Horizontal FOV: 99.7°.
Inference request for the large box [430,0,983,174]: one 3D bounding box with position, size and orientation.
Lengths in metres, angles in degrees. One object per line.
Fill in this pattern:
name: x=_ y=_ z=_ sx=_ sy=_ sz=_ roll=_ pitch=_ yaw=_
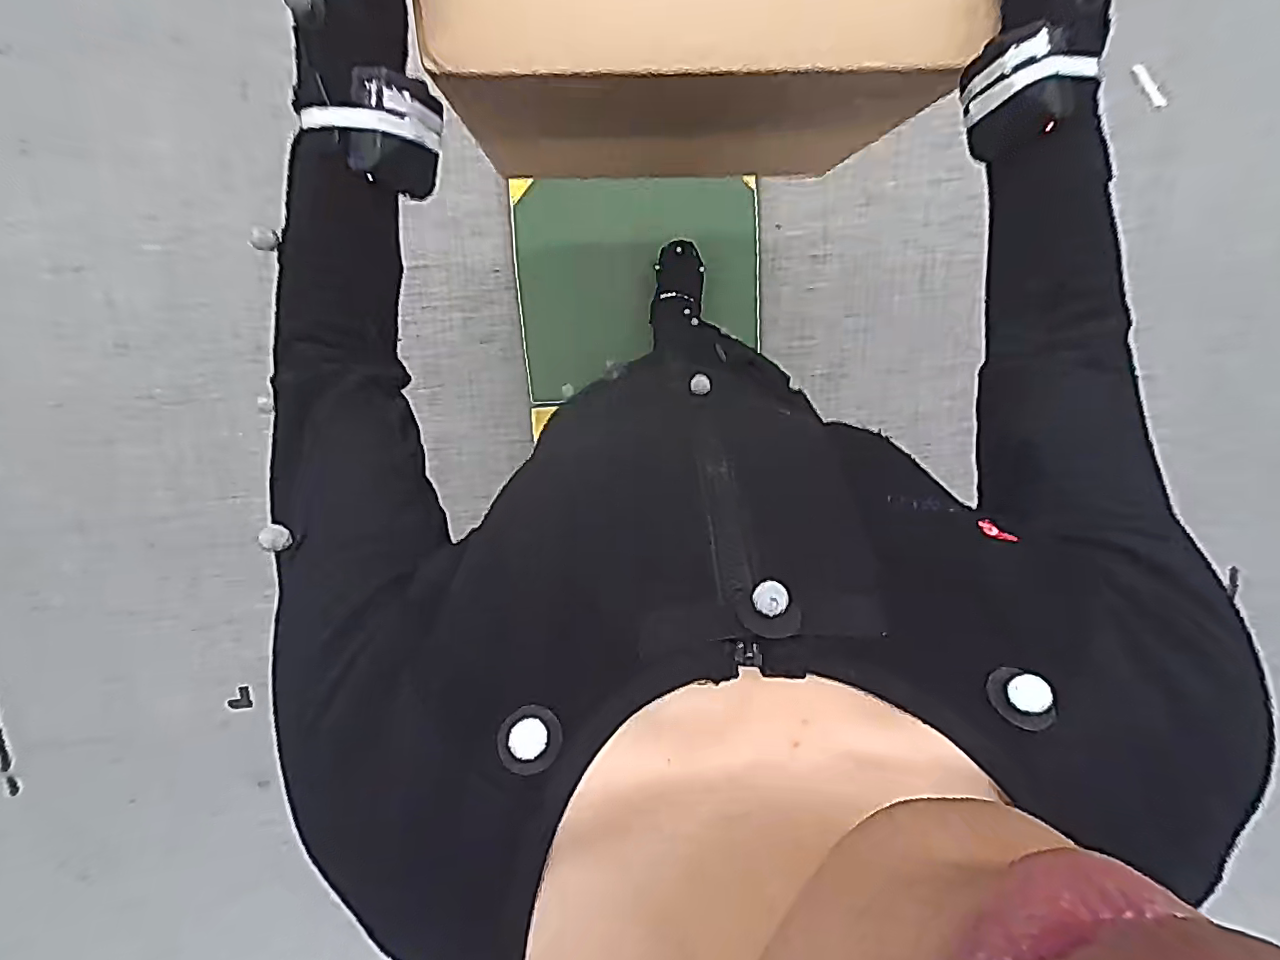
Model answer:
large box: x=0.032 y=-0.494 z=0.489 sx=0.408 sy=0.320 sz=0.320 roll=-4 pitch=108 yaw=-4
